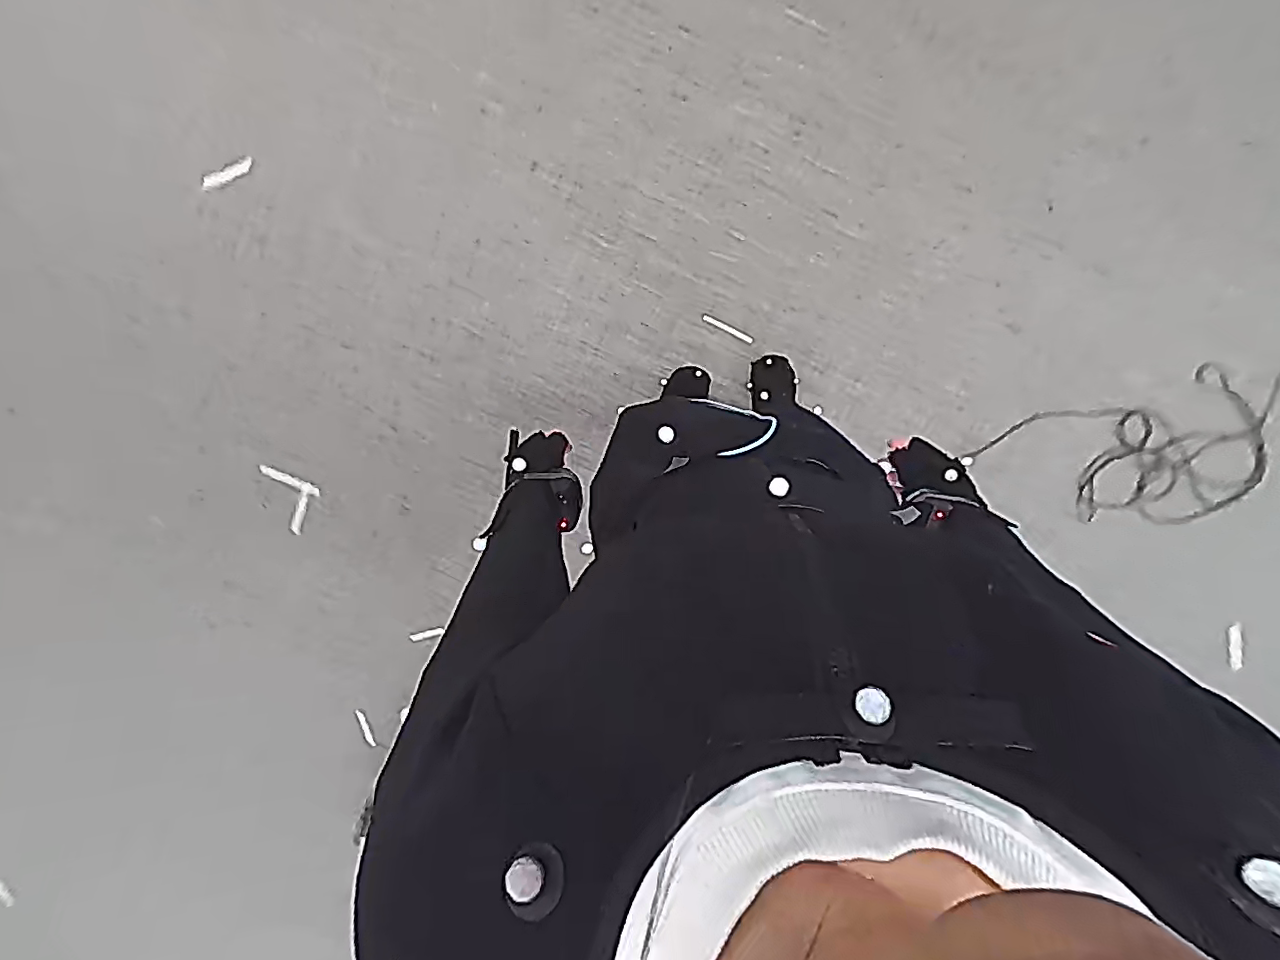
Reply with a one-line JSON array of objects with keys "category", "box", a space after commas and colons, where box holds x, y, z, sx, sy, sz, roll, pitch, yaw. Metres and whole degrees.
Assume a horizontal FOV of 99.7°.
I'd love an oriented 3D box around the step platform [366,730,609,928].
[{"category": "step platform", "box": [-0.444, 1.034, 1.612, 0.684, 0.204, 0.286, 25, 102, -1]}]
